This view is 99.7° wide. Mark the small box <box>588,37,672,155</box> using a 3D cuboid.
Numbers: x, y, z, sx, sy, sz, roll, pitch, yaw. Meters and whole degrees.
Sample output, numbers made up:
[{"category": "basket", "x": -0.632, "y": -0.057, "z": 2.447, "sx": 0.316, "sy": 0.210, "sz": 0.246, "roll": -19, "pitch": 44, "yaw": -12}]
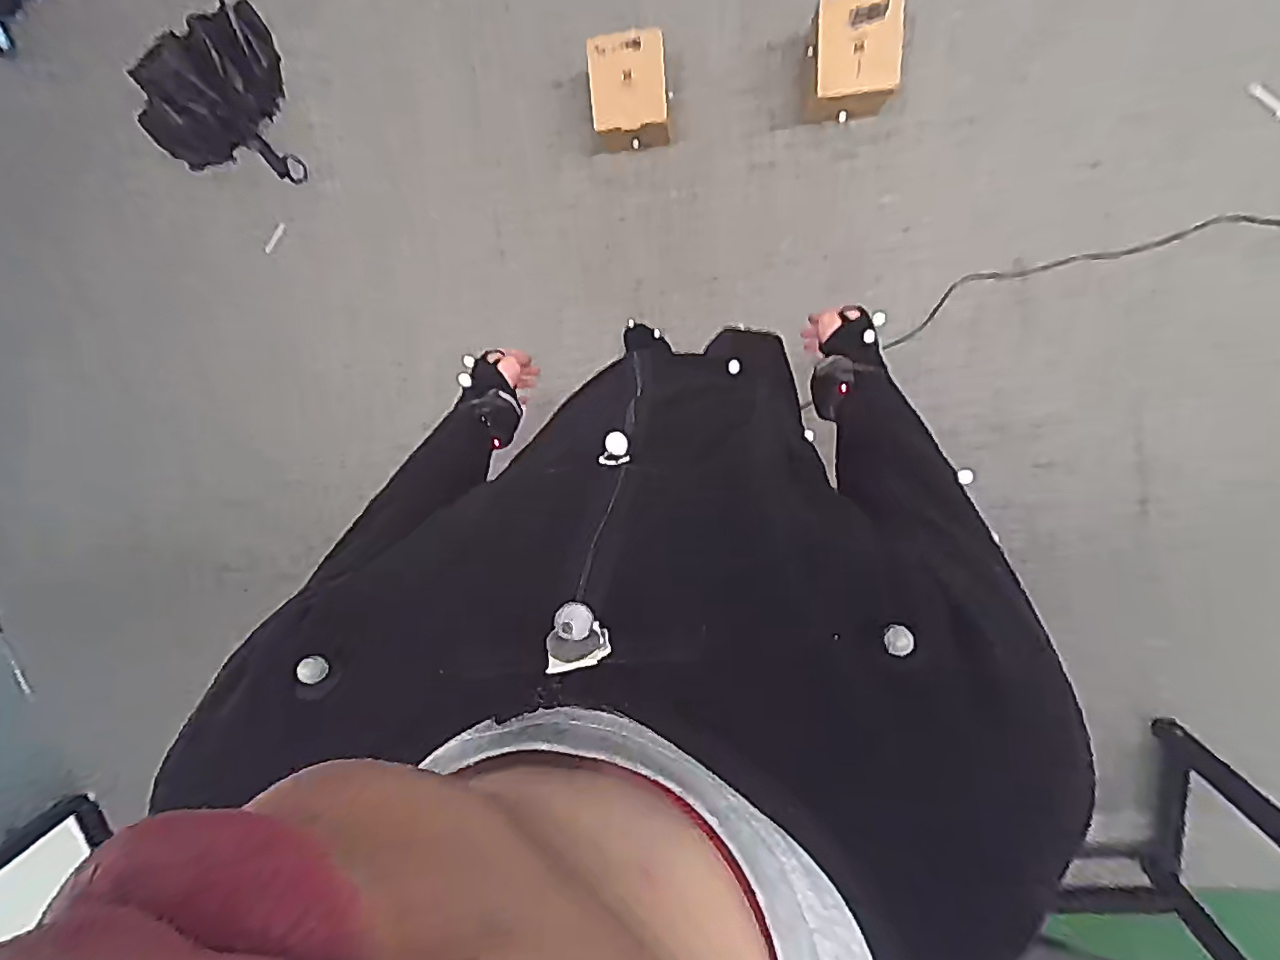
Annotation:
[{"category": "small box", "x": -0.016, "y": -0.875, "z": 1.252, "sx": 0.168, "sy": 0.176, "sz": 0.179, "roll": -3, "pitch": 105, "yaw": 8}]

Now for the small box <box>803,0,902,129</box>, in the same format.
[{"category": "small box", "x": 0.455, "y": -0.903, "z": 1.183, "sx": 0.168, "sy": 0.176, "sz": 0.179, "roll": -2, "pitch": 107, "yaw": 8}]
